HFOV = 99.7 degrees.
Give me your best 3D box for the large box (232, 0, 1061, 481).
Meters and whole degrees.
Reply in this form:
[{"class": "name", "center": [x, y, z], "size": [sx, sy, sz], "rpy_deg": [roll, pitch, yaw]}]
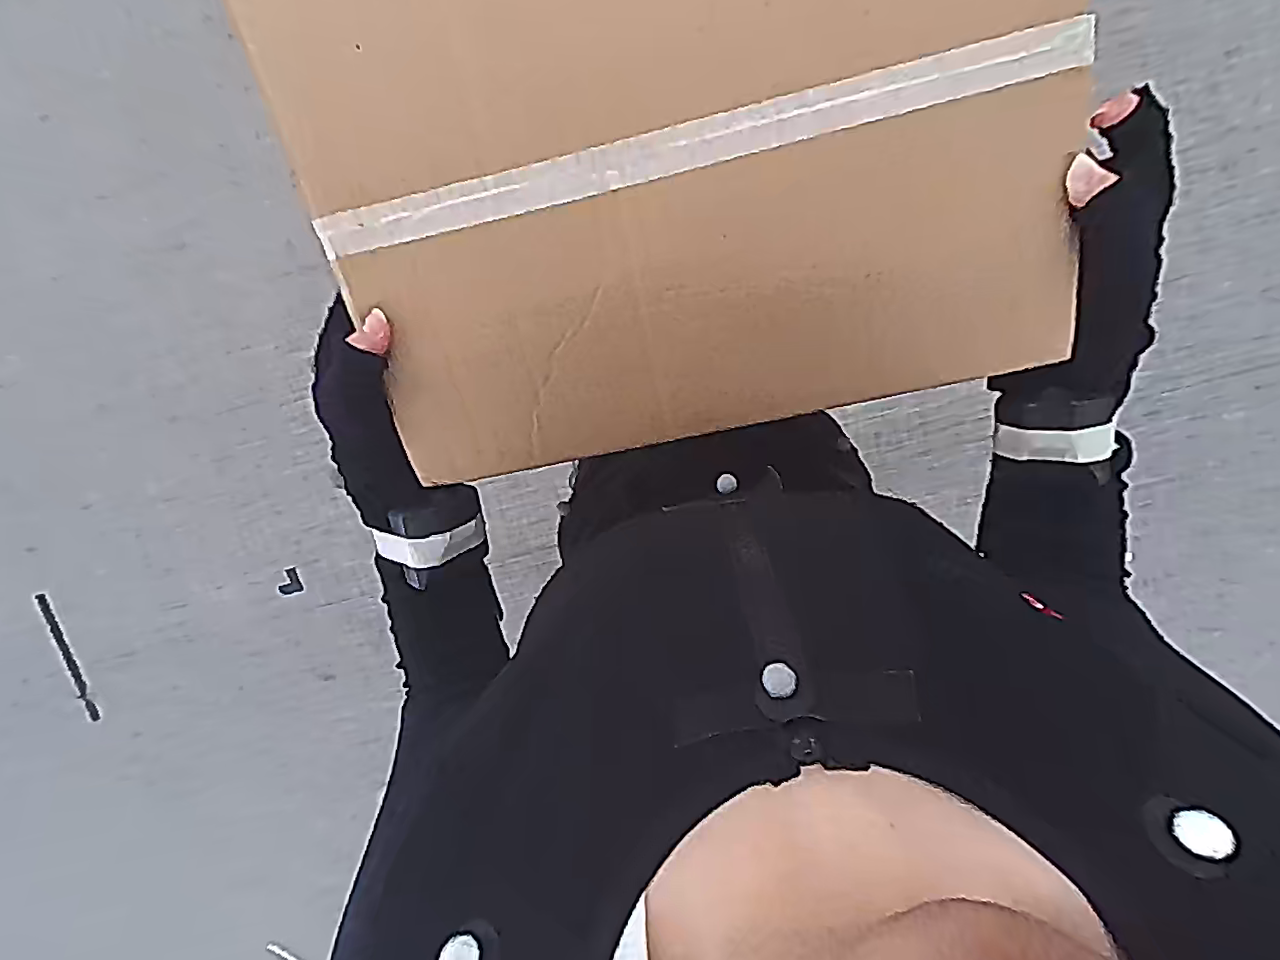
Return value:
[{"class": "large box", "center": [0.020, -0.233, 0.429], "size": [0.408, 0.320, 0.320], "rpy_deg": [-11, 111, 6]}]
